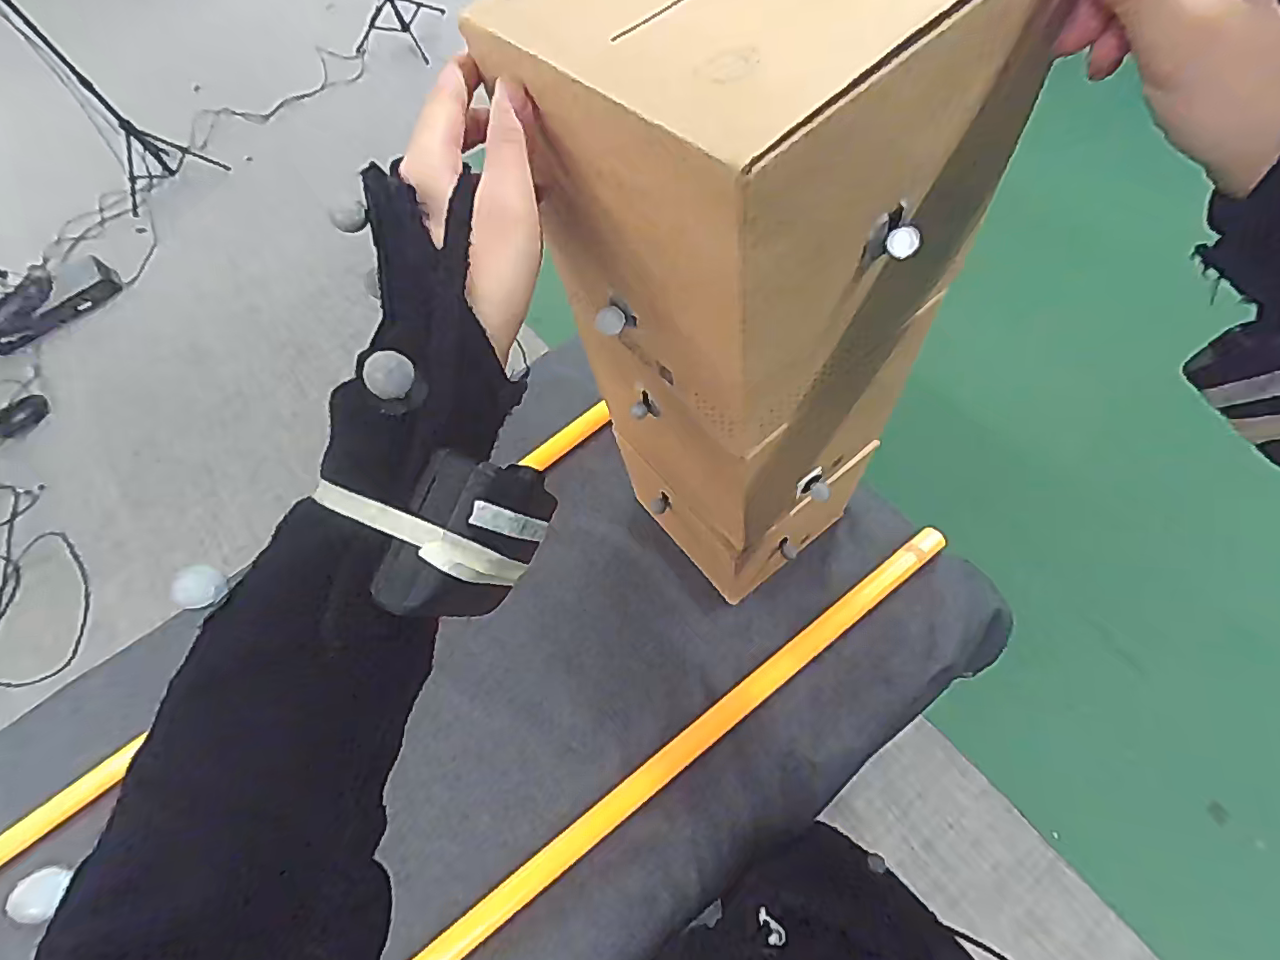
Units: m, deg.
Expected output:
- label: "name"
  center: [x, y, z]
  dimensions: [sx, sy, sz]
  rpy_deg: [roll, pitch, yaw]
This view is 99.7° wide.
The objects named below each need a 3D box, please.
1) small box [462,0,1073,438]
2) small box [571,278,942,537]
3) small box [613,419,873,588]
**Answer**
- label: "small box"
  center: [0.054, -0.157, 0.268]
  dimensions: [0.179, 0.176, 0.168]
  rpy_deg: [-40, 63, -9]
- label: "small box"
  center: [0.078, -0.085, 0.415]
  dimensions: [0.168, 0.176, 0.179]
  rpy_deg: [-39, 64, -9]
- label: "small box"
  center: [0.100, -0.008, 0.556]
  dimensions: [0.168, 0.176, 0.179]
  rpy_deg: [-37, 63, -9]
